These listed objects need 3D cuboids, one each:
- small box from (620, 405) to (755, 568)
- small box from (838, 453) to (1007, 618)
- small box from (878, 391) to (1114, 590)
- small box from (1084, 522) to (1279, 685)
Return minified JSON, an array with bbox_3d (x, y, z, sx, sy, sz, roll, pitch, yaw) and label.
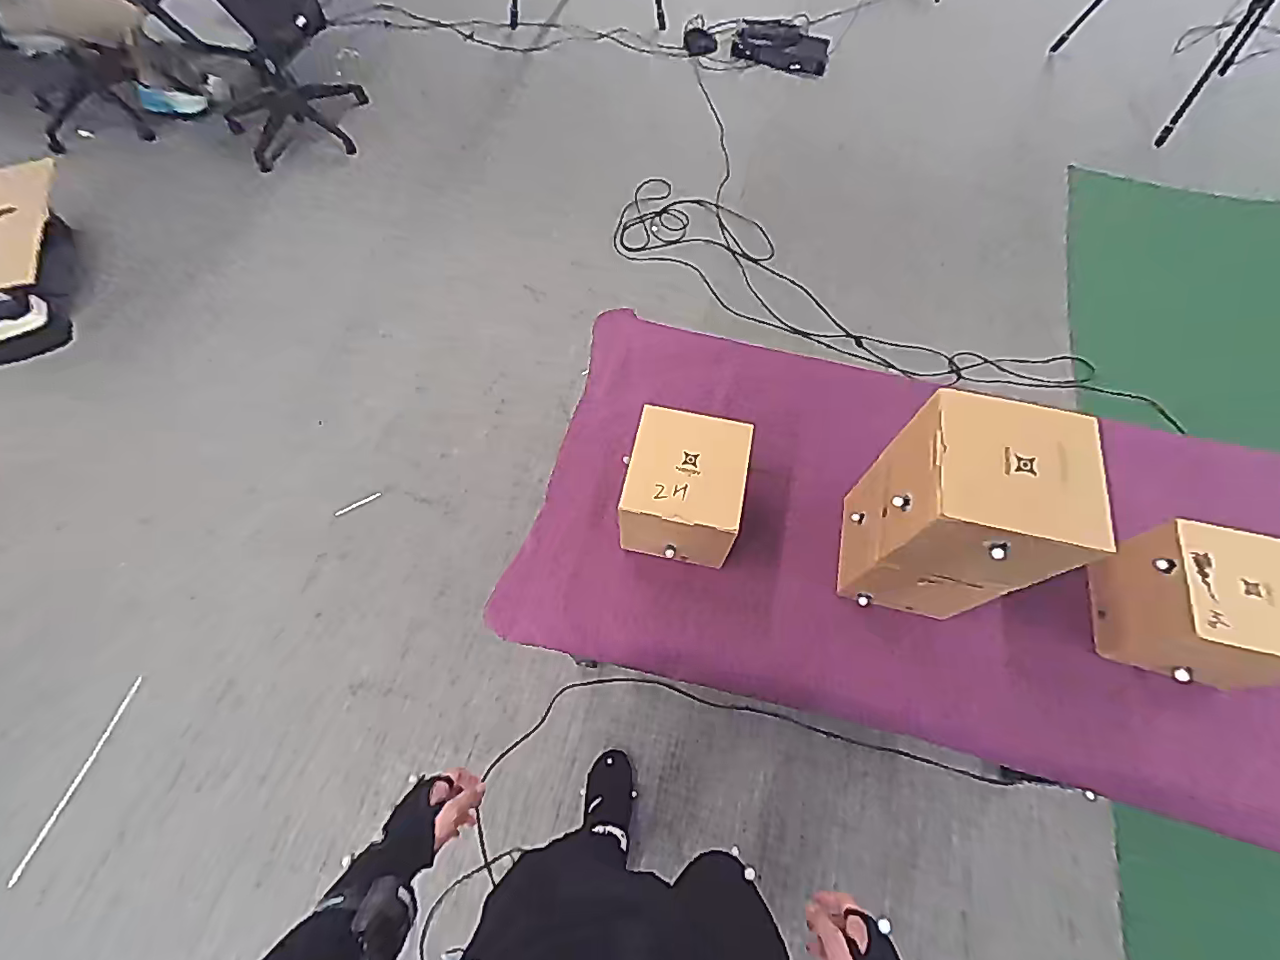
[{"bbox_3d":[0.068,0.015,0.826,0.168,0.176,0.179,12,65,5],"label":"small box"},{"bbox_3d":[0.405,0.090,0.799,0.168,0.176,0.179,13,64,5],"label":"small box"},{"bbox_3d":[0.407,0.021,0.651,0.179,0.176,0.168,13,65,4],"label":"small box"},{"bbox_3d":[0.783,0.182,0.762,0.179,0.176,0.168,14,64,6],"label":"small box"}]
